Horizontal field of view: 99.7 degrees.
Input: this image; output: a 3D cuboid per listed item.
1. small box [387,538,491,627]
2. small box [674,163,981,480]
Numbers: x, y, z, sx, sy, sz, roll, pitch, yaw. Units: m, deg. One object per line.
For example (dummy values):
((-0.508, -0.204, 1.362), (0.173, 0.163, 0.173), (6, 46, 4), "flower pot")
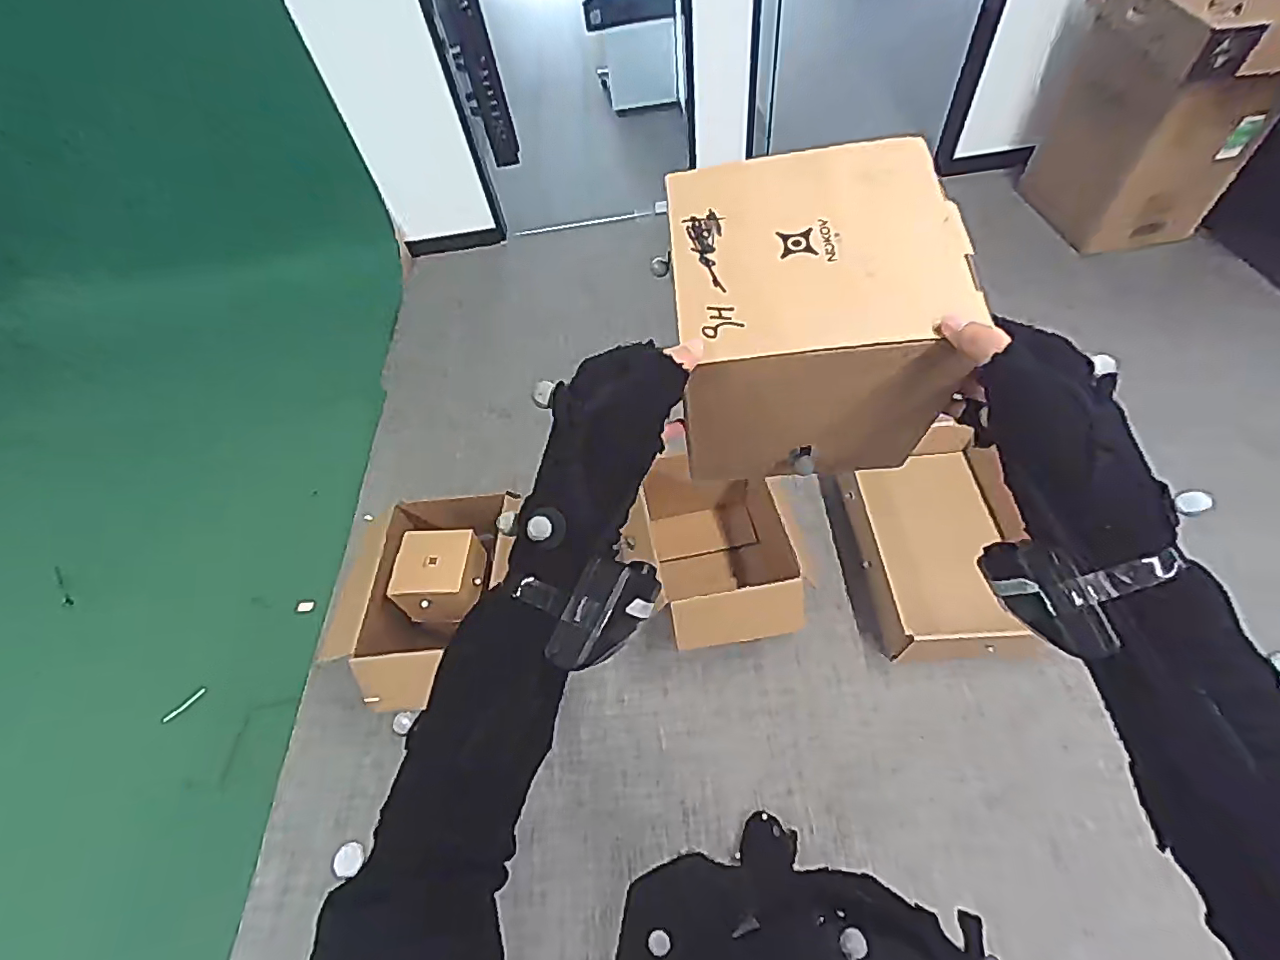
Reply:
((-0.486, 0.256, 1.340), (0.179, 0.176, 0.168), (-3, 53, 4), "small box")
((0.118, -0.110, 0.424), (0.179, 0.176, 0.168), (-4, 64, 4), "small box")
